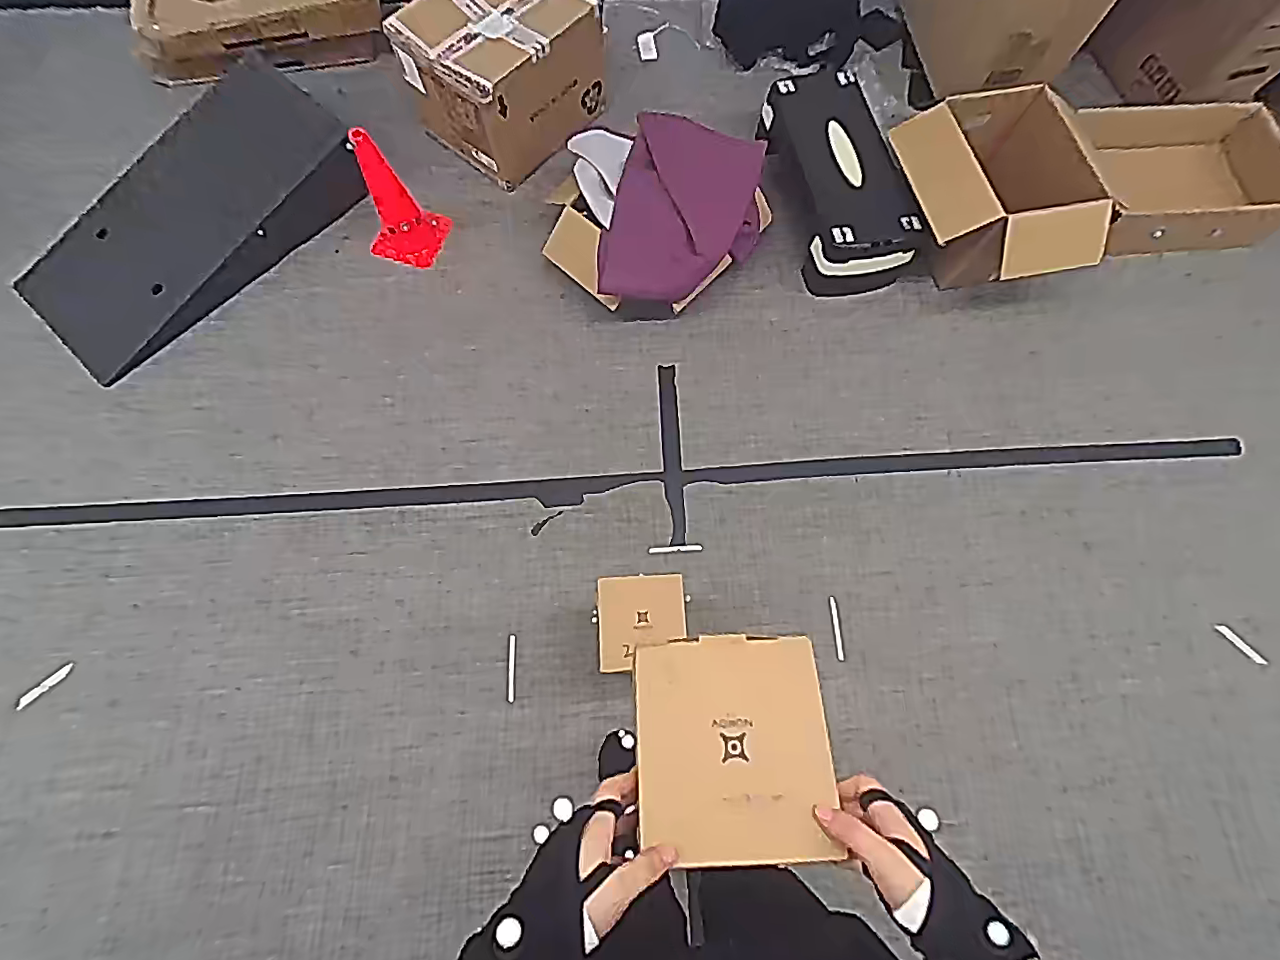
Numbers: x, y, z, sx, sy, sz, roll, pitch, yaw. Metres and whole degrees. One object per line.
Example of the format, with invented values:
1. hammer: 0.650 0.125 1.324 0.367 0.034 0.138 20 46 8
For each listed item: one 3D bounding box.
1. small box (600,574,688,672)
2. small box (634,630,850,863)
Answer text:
1. small box: 0.004 0.291 1.087 0.168 0.176 0.179 -2 73 -2
2. small box: 0.079 0.254 0.529 0.168 0.176 0.179 -2 63 -1
